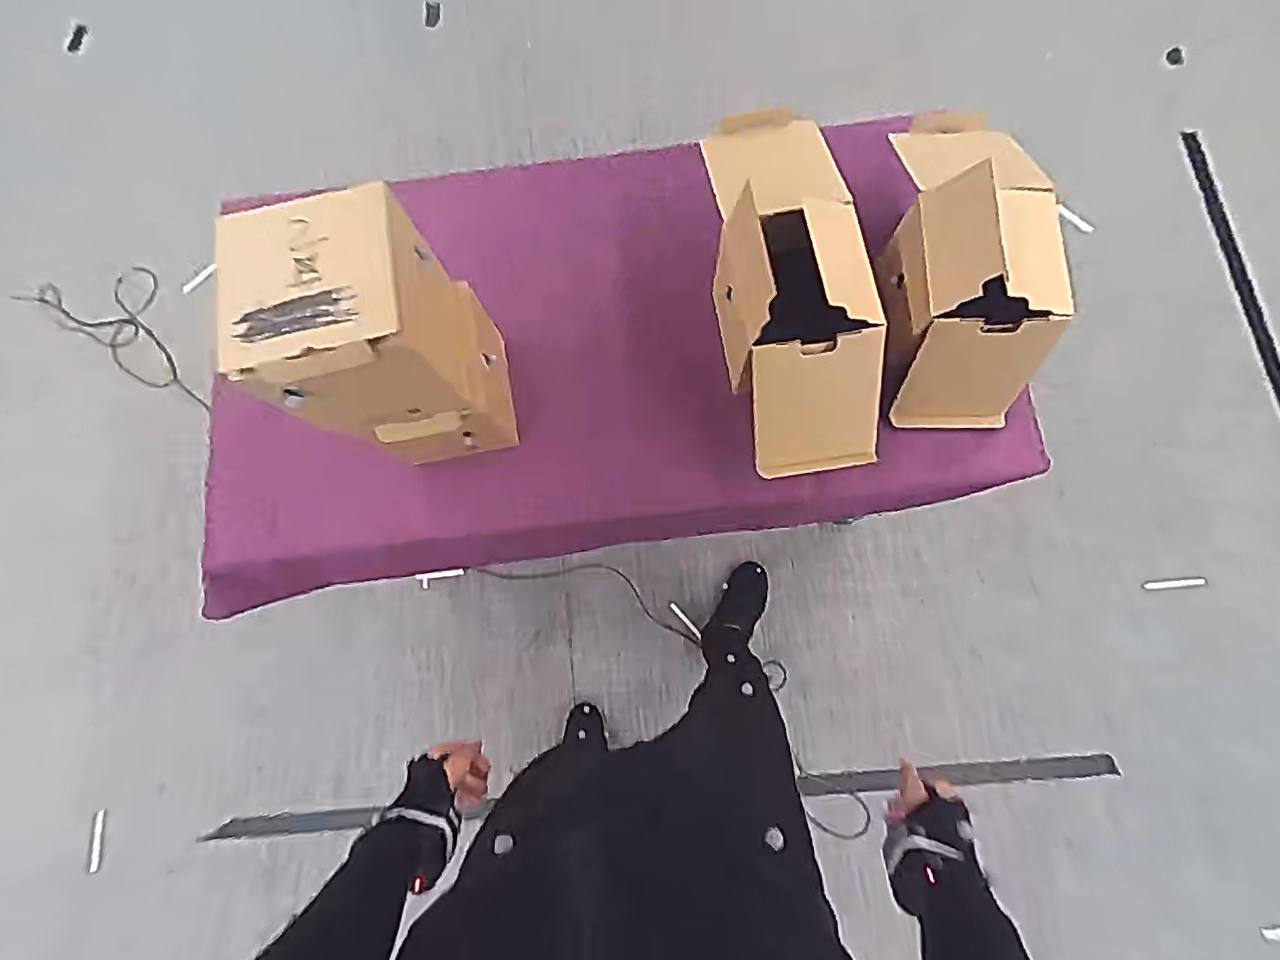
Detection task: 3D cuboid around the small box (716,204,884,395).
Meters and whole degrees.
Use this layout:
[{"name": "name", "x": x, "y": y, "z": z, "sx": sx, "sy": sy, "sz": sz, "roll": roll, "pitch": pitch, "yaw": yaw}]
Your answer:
[{"name": "small box", "x": 0.203, "y": -0.236, "z": 0.738, "sx": 0.168, "sy": 0.176, "sz": 0.179, "roll": -8, "pitch": 78, "yaw": 2}]

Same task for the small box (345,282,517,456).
[{"name": "small box", "x": -0.275, "y": -0.138, "z": 0.742, "sx": 0.168, "sy": 0.176, "sz": 0.179, "roll": -10, "pitch": 78, "yaw": 0}]
